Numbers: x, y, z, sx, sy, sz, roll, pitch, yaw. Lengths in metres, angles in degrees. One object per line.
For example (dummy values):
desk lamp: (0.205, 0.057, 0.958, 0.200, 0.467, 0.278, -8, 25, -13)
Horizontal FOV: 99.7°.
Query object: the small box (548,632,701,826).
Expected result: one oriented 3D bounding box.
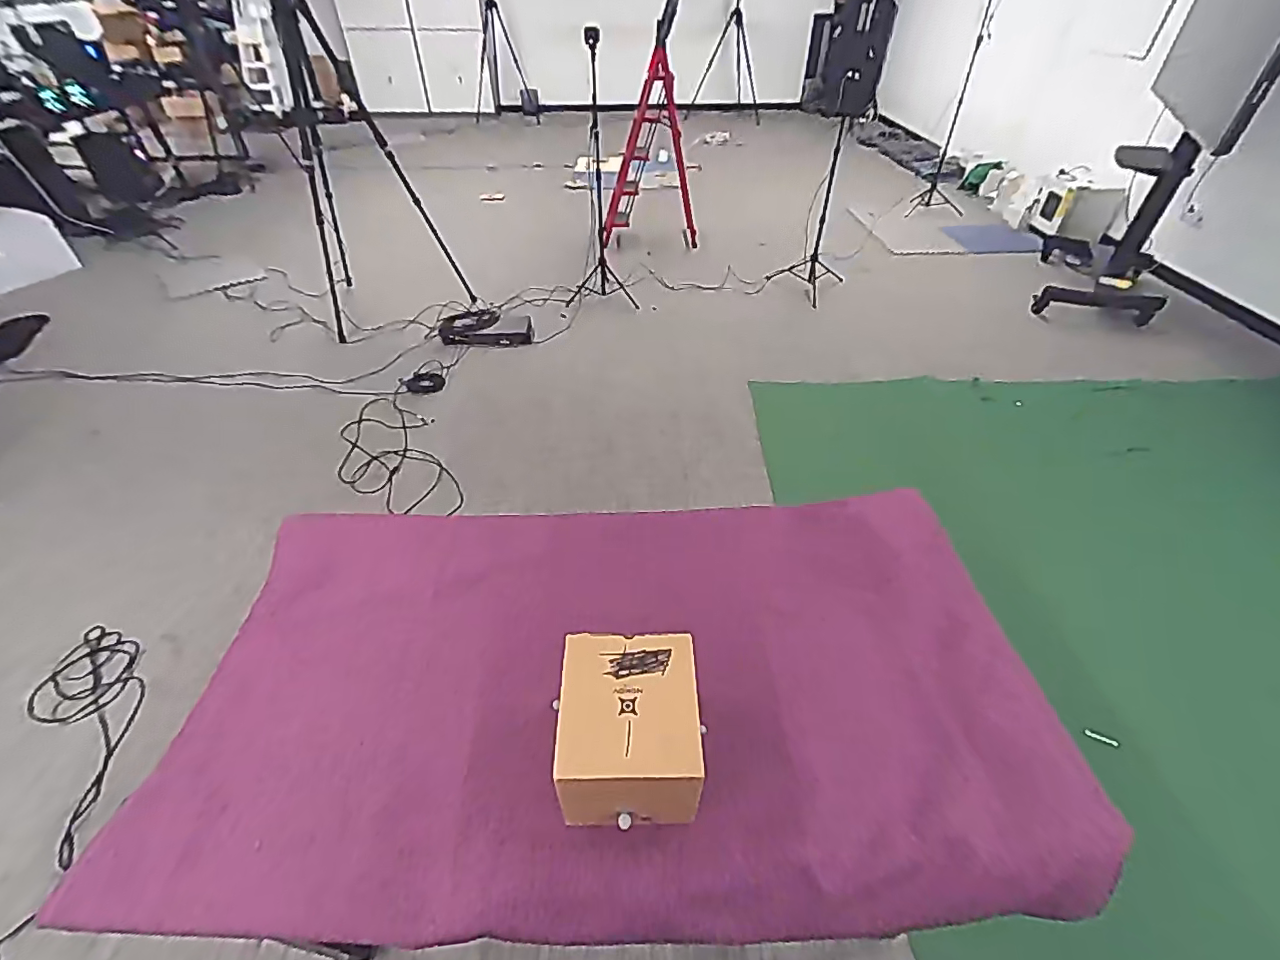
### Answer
small box: (-0.017, 0.314, 0.685, 0.168, 0.176, 0.179, 0, 43, 0)
